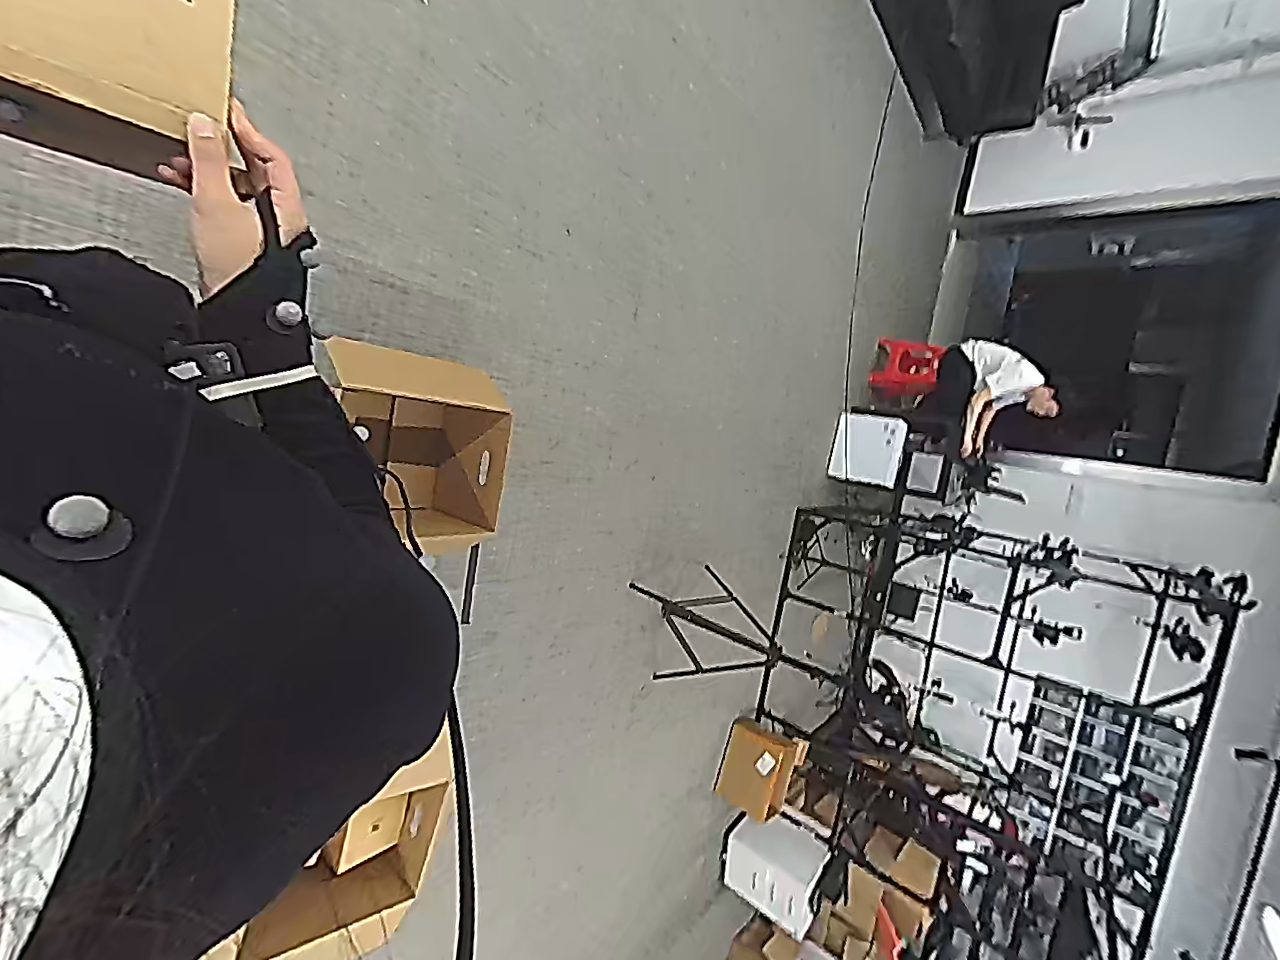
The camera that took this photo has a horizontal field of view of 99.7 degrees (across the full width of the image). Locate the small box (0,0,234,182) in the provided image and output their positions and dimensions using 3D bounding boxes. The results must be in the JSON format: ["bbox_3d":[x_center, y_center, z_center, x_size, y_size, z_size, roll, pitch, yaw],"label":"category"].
[{"bbox_3d":[-0.369,-0.311,0.336,0.179,0.176,0.168,3,102,-42],"label":"small box"}]
